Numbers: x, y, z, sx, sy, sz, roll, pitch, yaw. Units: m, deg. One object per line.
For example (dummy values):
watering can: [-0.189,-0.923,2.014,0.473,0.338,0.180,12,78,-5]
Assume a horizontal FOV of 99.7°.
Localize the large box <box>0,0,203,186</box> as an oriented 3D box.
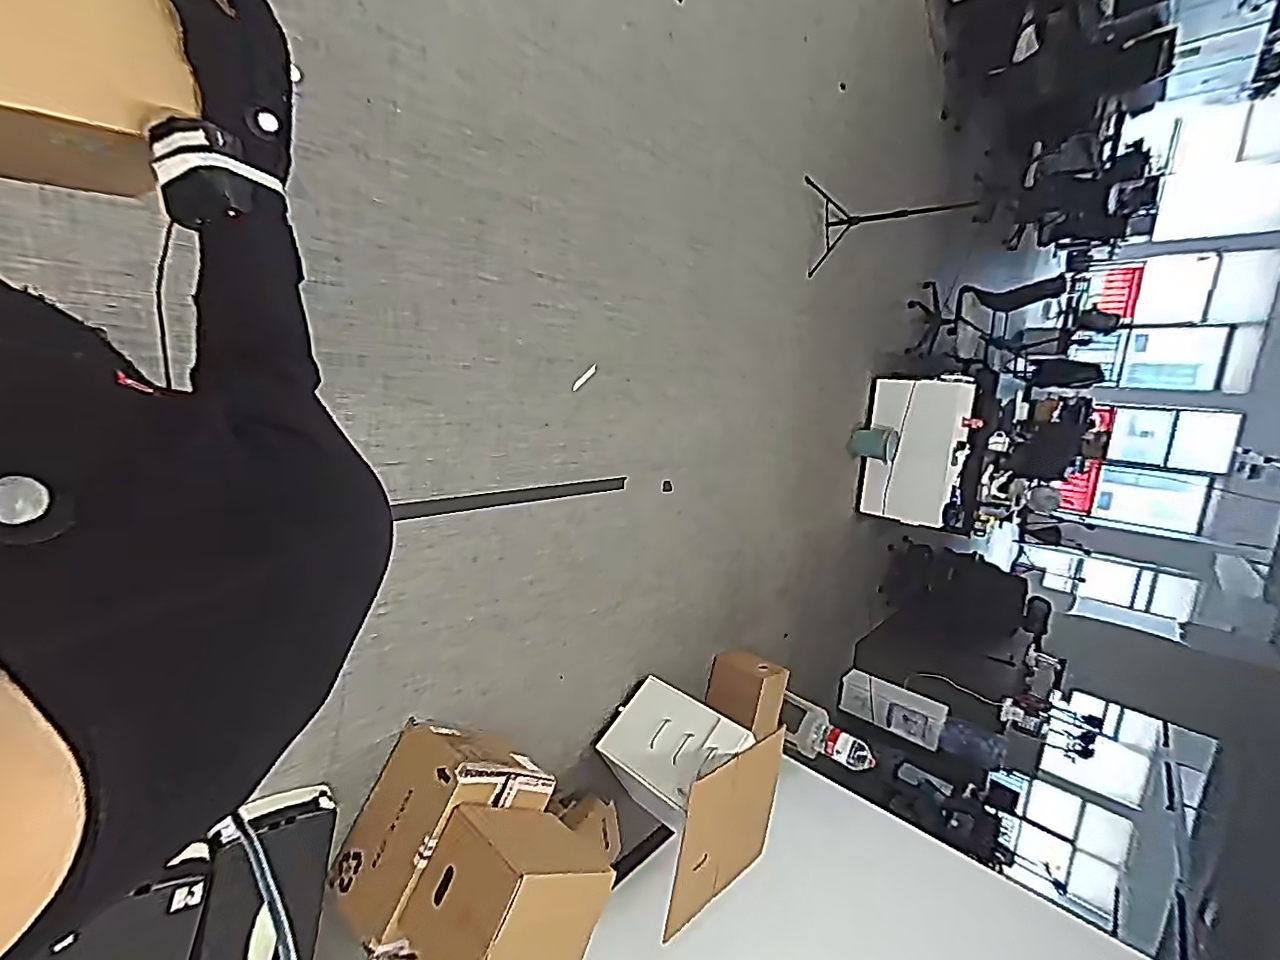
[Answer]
large box: [-0.589,-0.410,0.338,0.408,0.320,0.320,-16,115,-48]
